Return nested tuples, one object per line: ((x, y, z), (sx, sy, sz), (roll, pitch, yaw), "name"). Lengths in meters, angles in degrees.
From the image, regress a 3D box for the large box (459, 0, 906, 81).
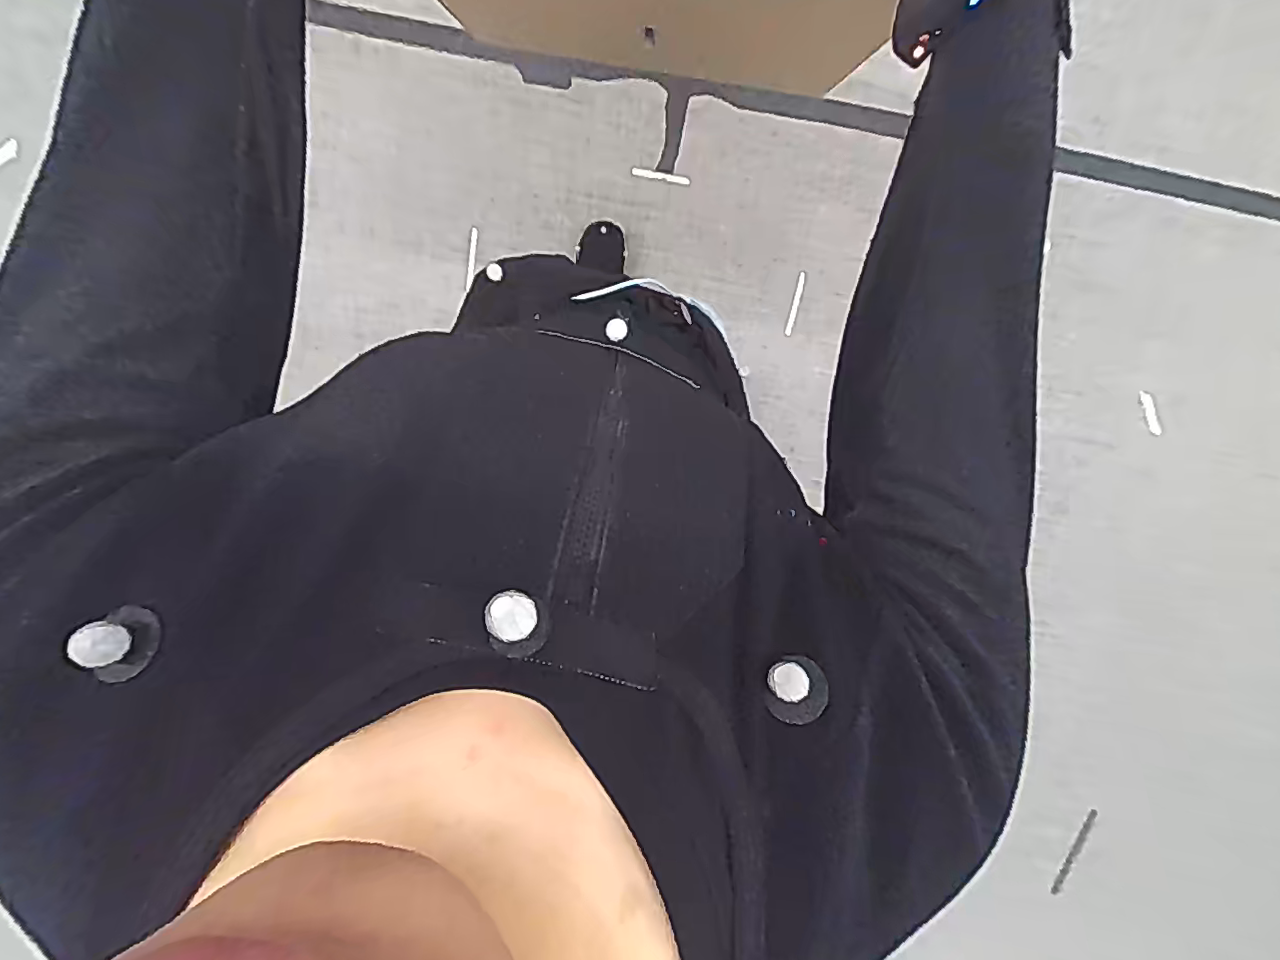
((0.030, -0.559, 0.425), (0.408, 0.320, 0.320), (9, 113, -1), "large box")
